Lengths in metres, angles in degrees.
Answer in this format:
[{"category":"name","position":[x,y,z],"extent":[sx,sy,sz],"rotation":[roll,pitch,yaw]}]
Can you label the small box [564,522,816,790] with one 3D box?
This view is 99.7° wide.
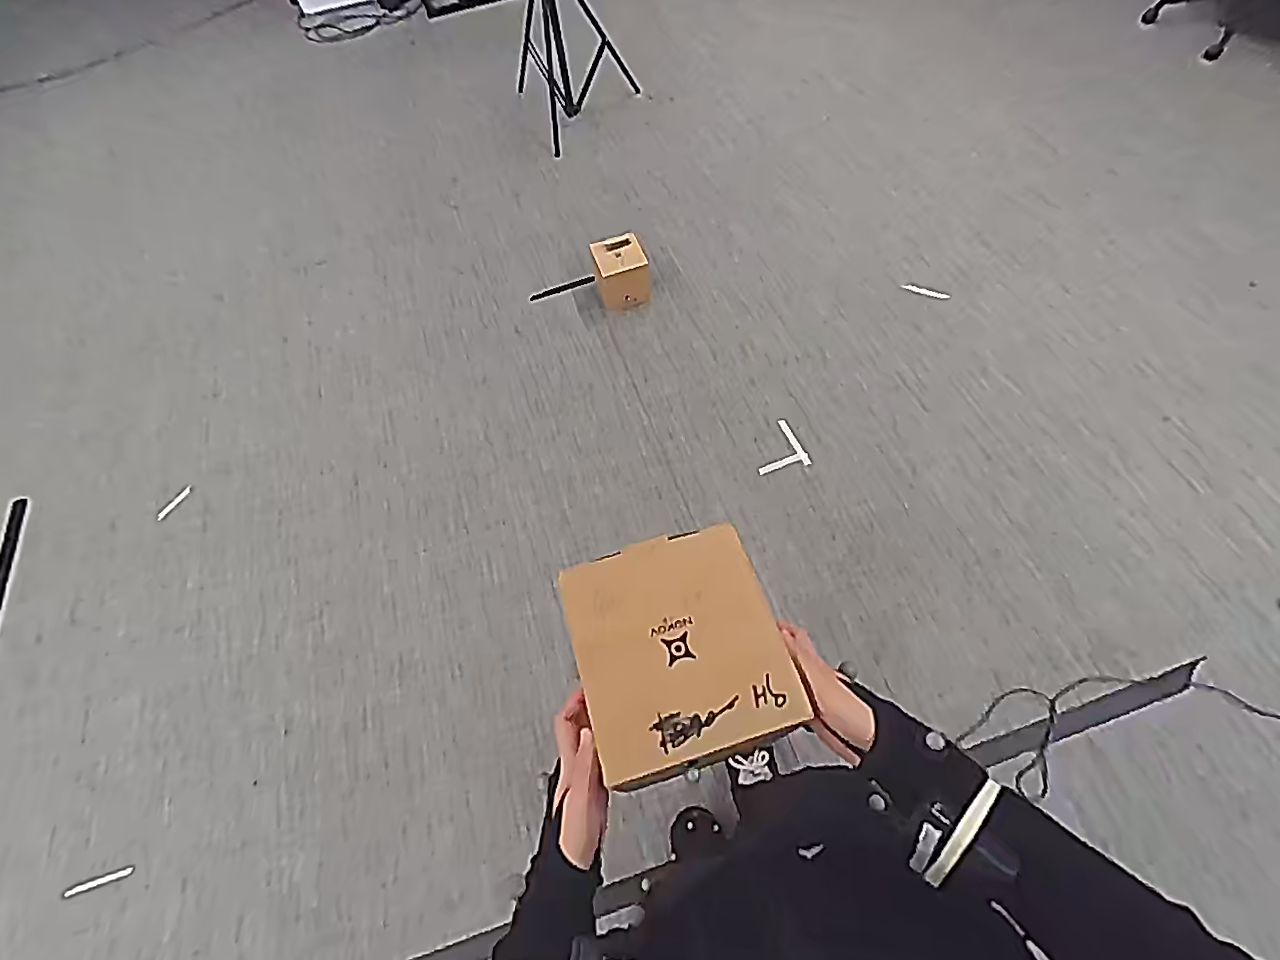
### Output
[{"category":"small box","position":[0.034,0.169,0.506],"extent":[0.168,0.176,0.179],"rotation":[-15,59,-7]}]
